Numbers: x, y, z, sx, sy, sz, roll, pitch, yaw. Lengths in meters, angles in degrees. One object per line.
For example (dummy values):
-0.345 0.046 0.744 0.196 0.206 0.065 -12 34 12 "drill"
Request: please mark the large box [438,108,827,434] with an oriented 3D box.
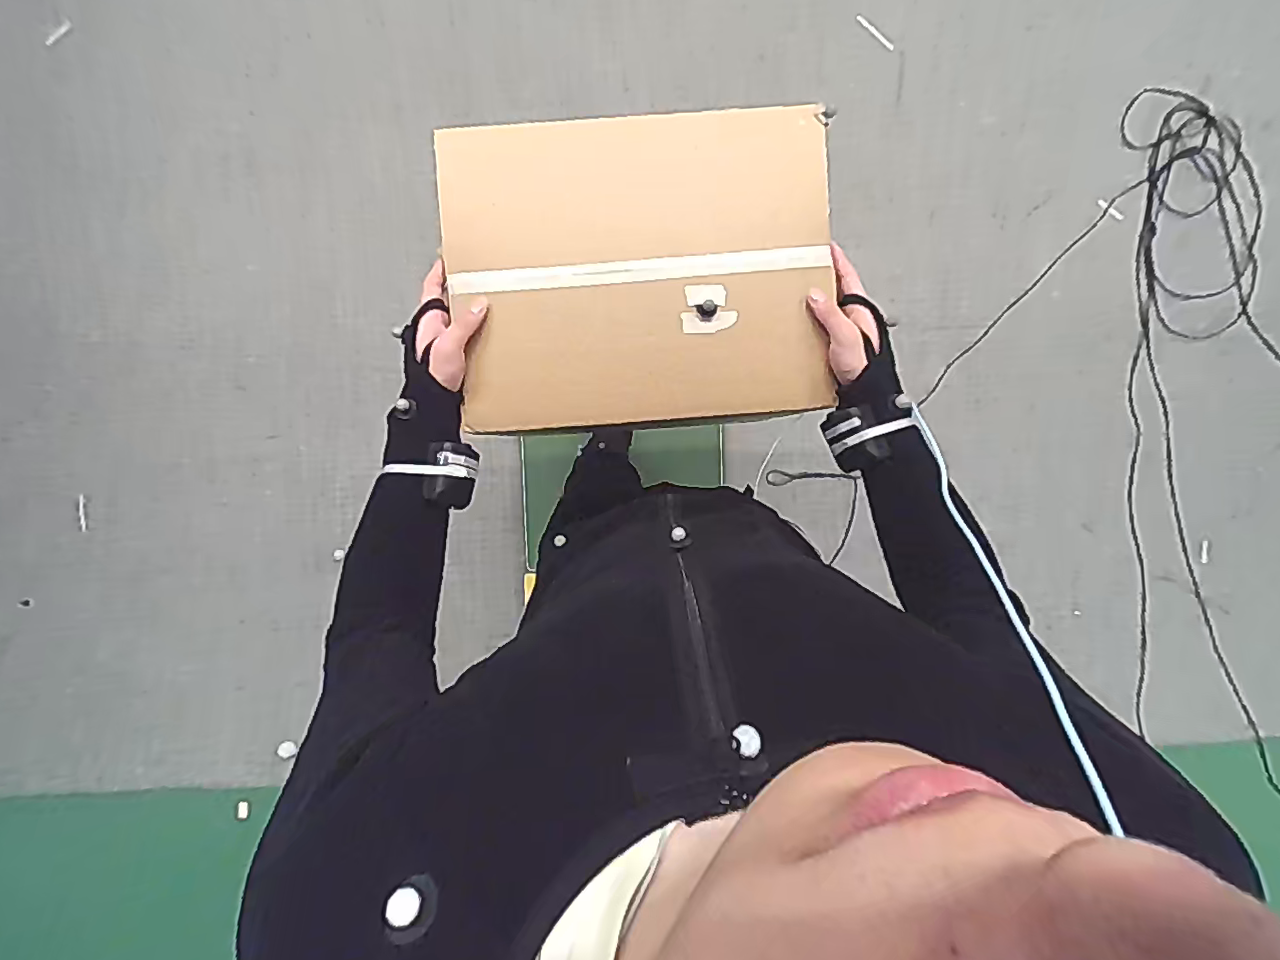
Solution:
-0.009 -0.236 0.729 0.408 0.320 0.320 -4 95 -1 "large box"
